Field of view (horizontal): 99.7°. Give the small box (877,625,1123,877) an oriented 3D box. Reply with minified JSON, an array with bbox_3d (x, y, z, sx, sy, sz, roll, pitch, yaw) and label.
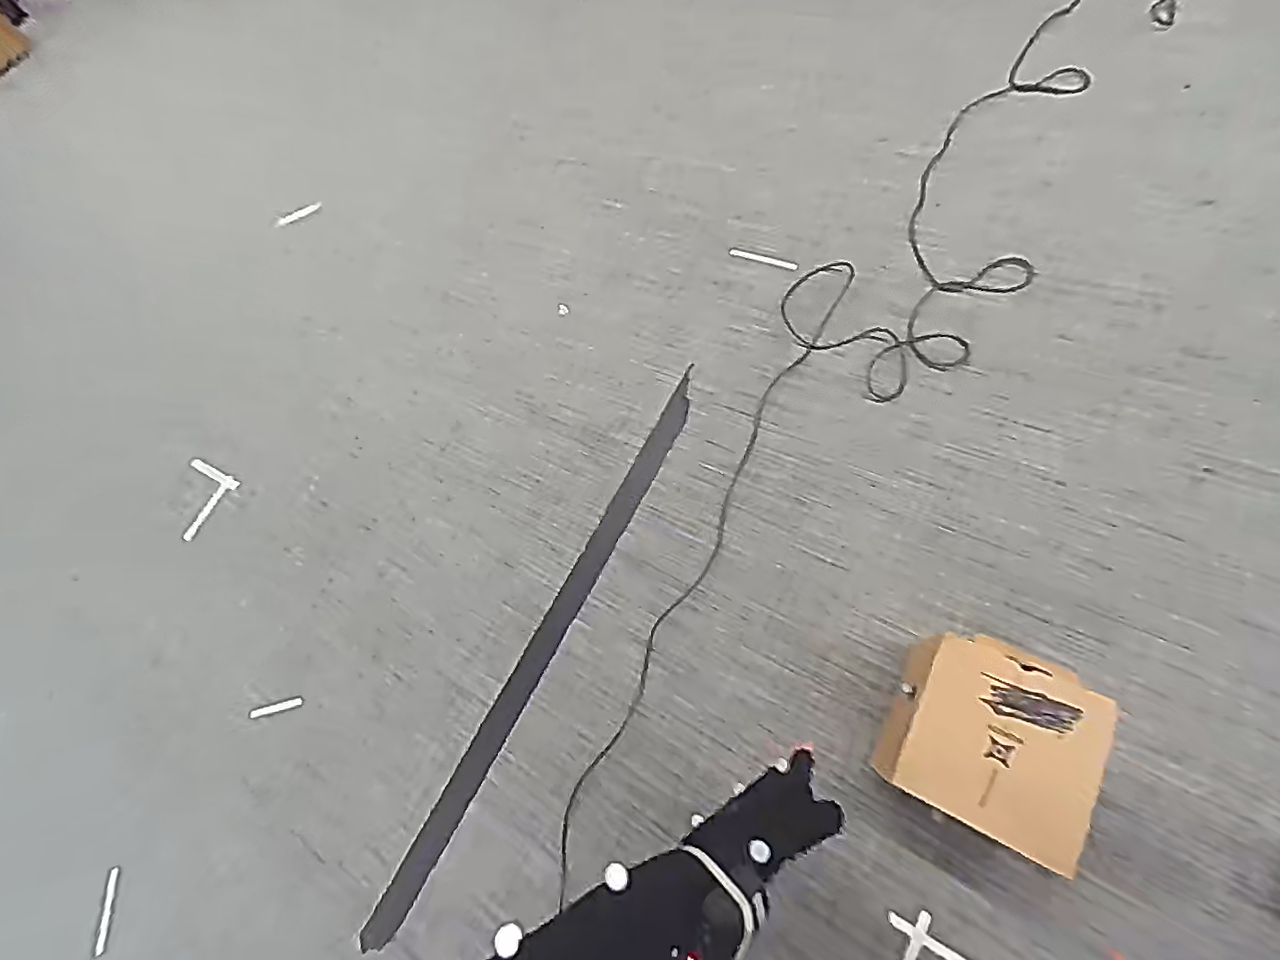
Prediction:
[{"bbox_3d":[0.388,0.291,0.615,0.168,0.176,0.179,23,75,22],"label":"small box"}]
